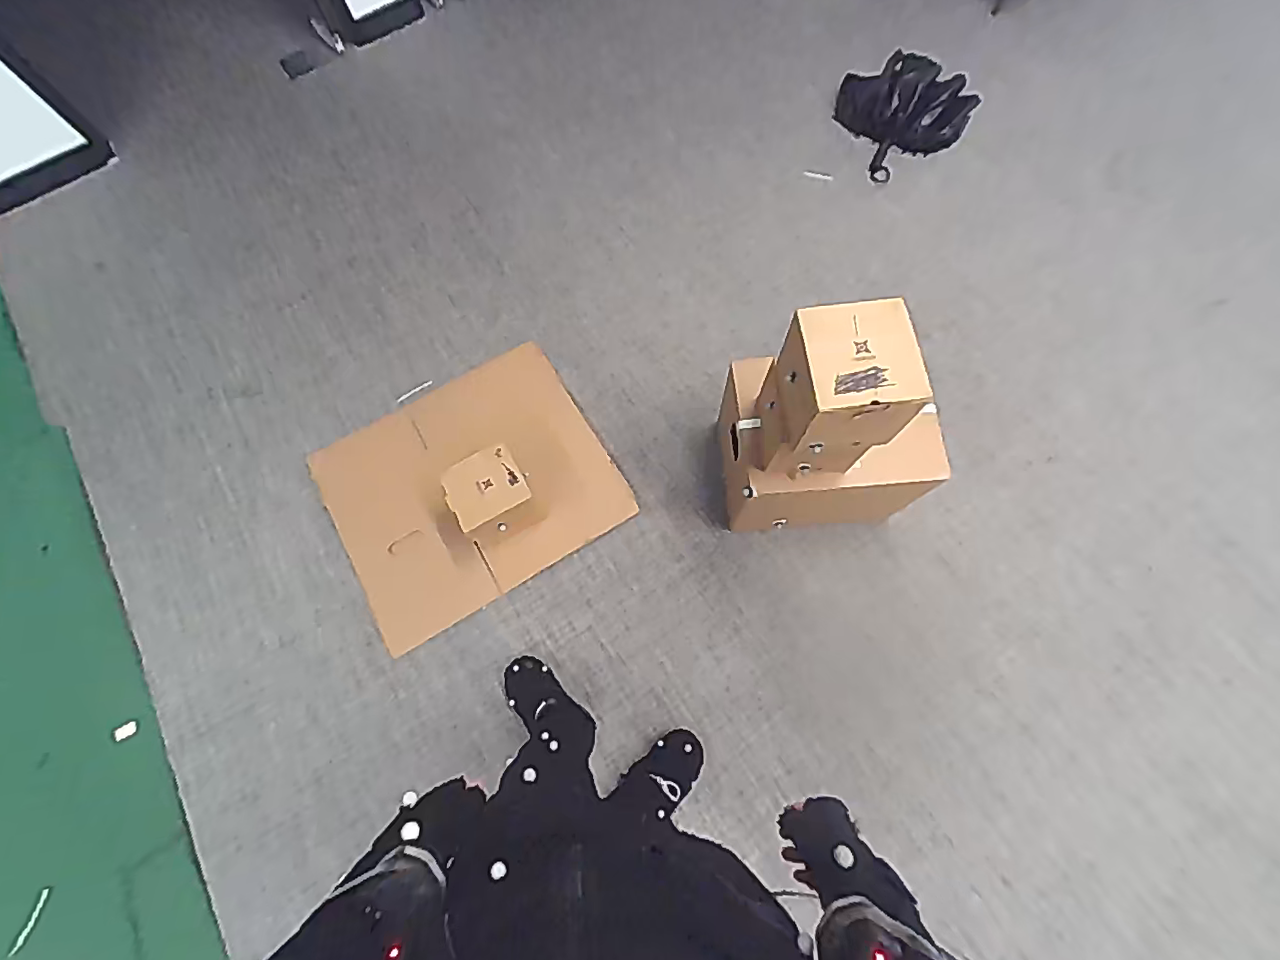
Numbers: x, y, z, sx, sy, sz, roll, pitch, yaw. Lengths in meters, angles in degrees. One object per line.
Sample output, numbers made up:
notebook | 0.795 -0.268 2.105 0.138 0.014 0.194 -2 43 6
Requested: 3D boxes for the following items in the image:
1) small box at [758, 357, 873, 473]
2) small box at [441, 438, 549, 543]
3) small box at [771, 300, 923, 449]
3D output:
small box | 0.325 -0.122 1.039 0.168 0.176 0.179 -2 73 2
small box | -0.347 0.034 1.324 0.179 0.176 0.168 -32 71 -6
small box | 0.322 -0.159 0.878 0.168 0.176 0.179 -9 73 0
